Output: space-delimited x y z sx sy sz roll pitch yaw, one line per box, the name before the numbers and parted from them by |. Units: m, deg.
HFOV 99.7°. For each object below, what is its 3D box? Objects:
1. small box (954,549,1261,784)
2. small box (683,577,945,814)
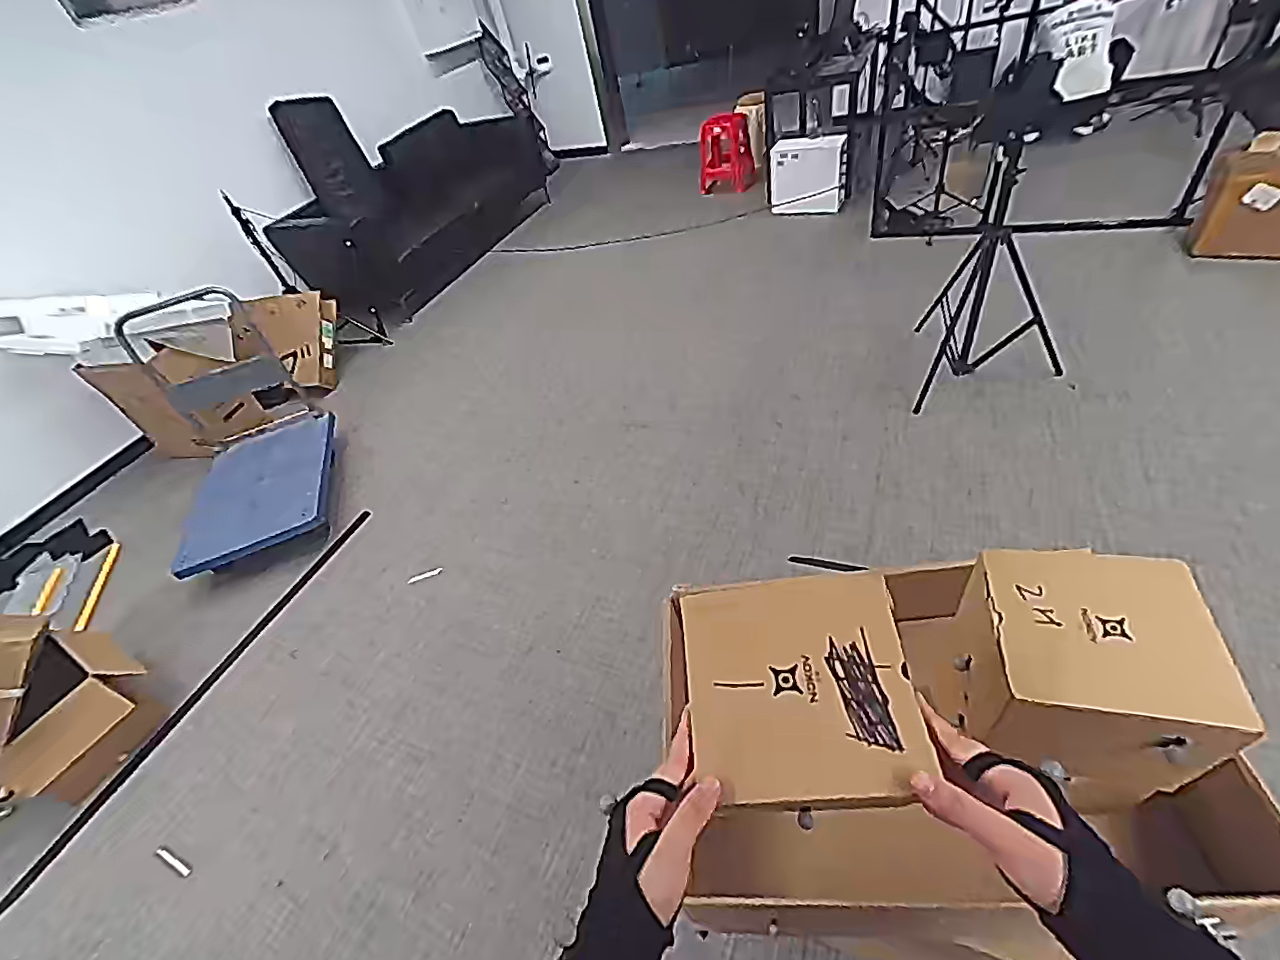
small box | 0.445 0.191 0.557 0.179 0.176 0.168 1 47 20
small box | 0.141 0.204 0.495 0.179 0.176 0.168 -9 55 9
